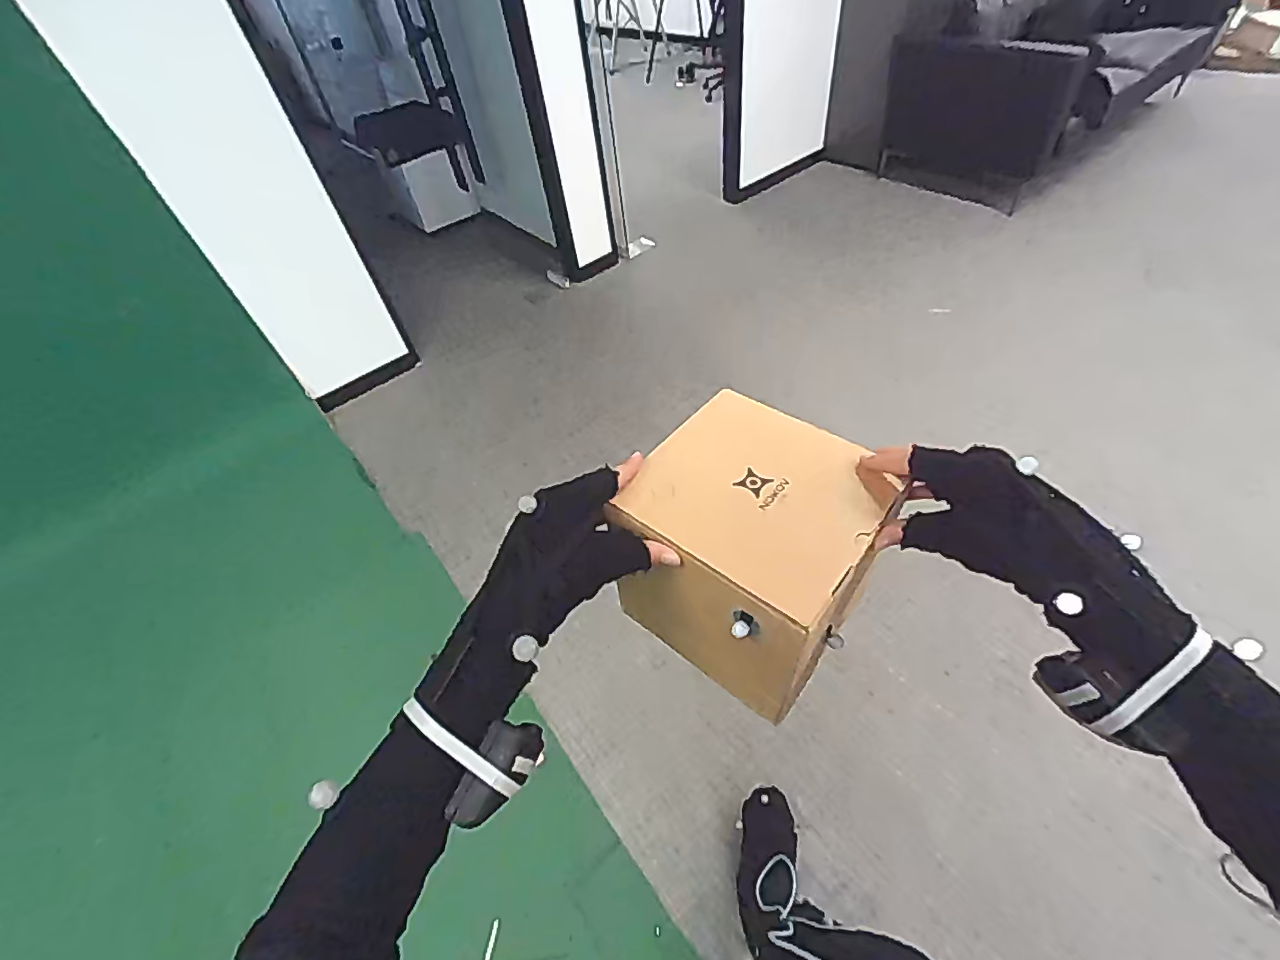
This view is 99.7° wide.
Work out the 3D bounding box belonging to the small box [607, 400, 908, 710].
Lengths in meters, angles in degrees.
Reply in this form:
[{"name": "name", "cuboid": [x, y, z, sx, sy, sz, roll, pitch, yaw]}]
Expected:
[{"name": "small box", "cuboid": [0.093, 0.064, 0.474, 0.179, 0.176, 0.168, 31, 56, 28]}]
